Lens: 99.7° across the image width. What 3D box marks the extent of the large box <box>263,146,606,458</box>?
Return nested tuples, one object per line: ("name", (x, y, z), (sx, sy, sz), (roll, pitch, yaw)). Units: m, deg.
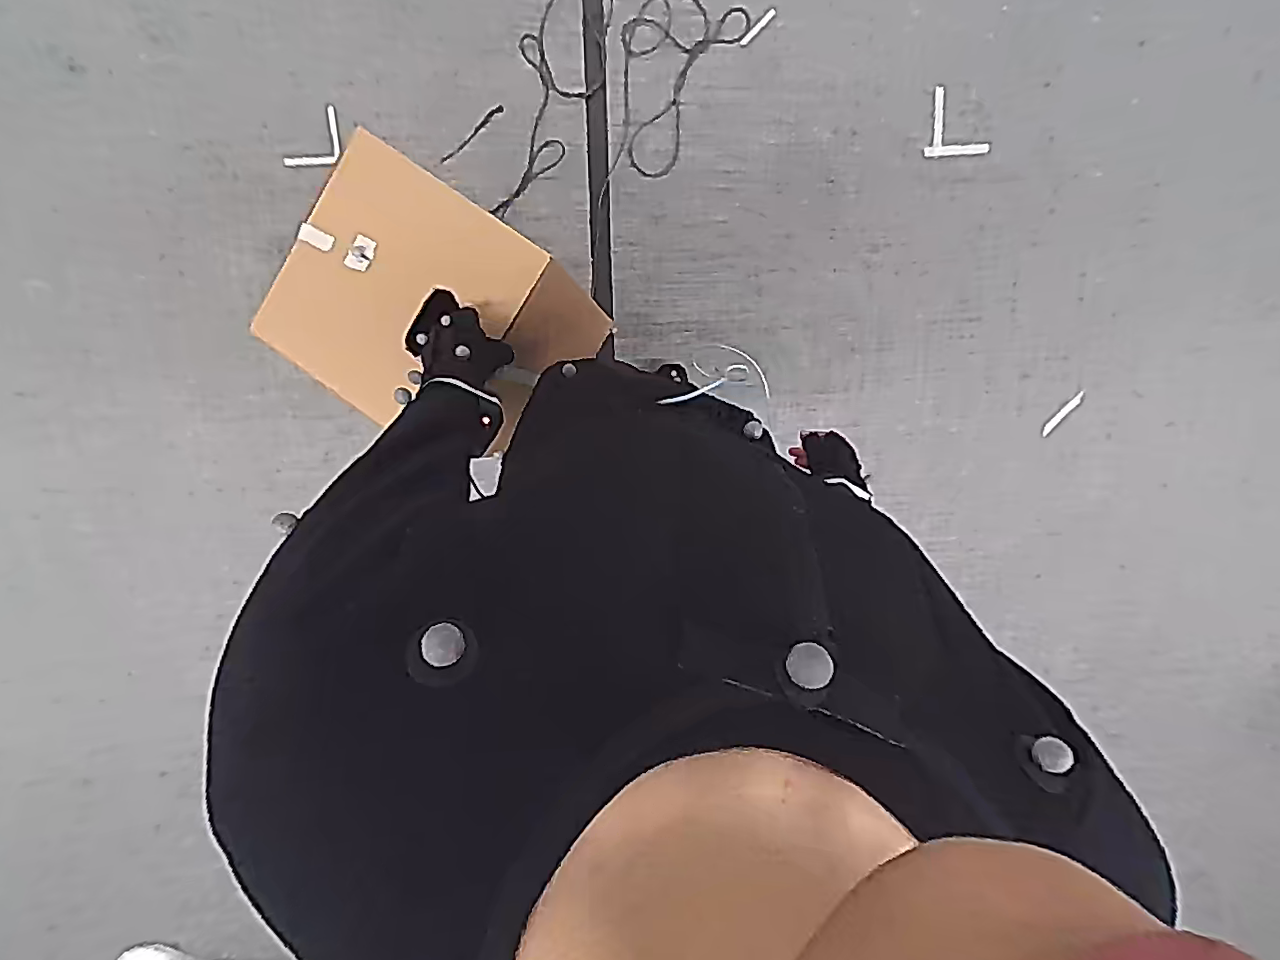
("large box", (-0.302, -0.258, 0.909), (0.320, 0.408, 0.320), (35, 99, 4))
